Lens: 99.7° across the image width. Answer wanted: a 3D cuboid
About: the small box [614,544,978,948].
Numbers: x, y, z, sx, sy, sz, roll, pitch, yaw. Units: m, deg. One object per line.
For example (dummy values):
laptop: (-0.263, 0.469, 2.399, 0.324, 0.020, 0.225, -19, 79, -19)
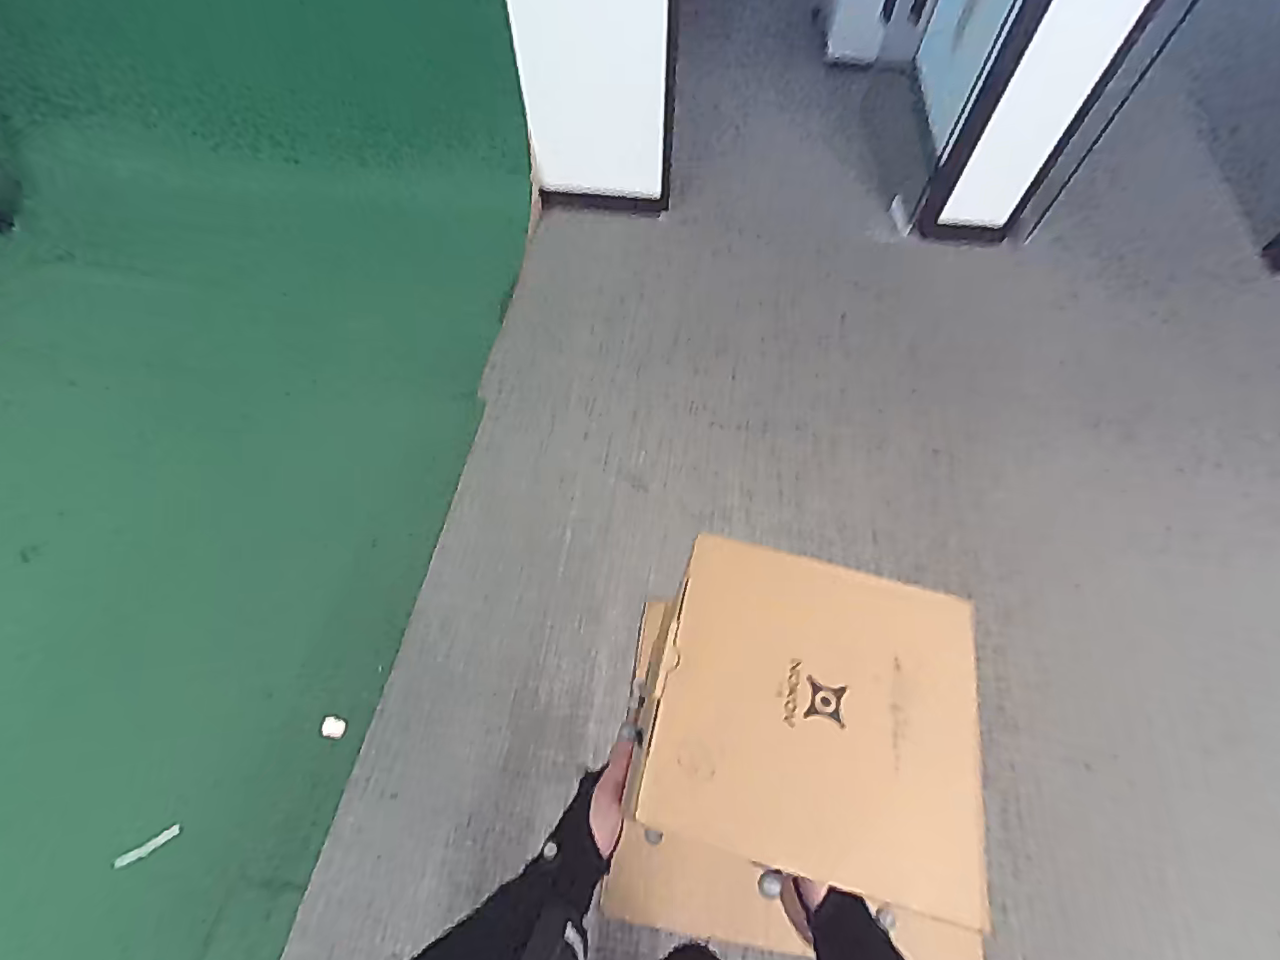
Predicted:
small box: (0.089, 0.169, 0.363, 0.179, 0.176, 0.168, 15, 59, 6)
